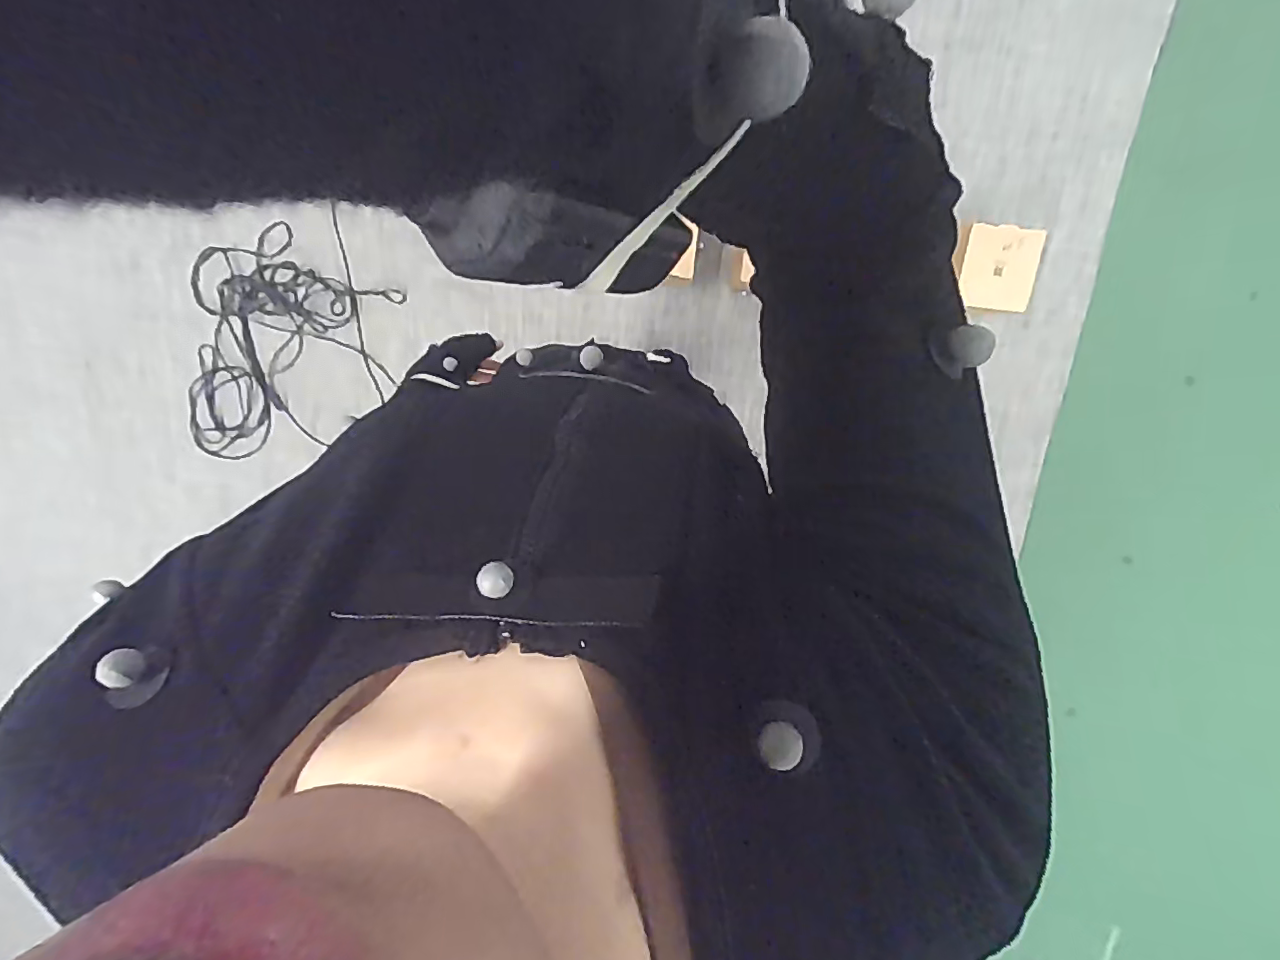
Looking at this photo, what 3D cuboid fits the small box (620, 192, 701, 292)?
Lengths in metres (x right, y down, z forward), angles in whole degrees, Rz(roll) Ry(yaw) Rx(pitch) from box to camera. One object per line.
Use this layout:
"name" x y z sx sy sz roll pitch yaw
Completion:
"small box" 0.046 -0.552 1.273 0.168 0.176 0.179 6 103 1

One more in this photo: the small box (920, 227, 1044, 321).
"small box" 0.789 -0.475 1.270 0.168 0.176 0.179 7 103 -1

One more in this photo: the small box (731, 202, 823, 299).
"small box" 0.311 -0.529 1.268 0.168 0.176 0.179 6 102 1
